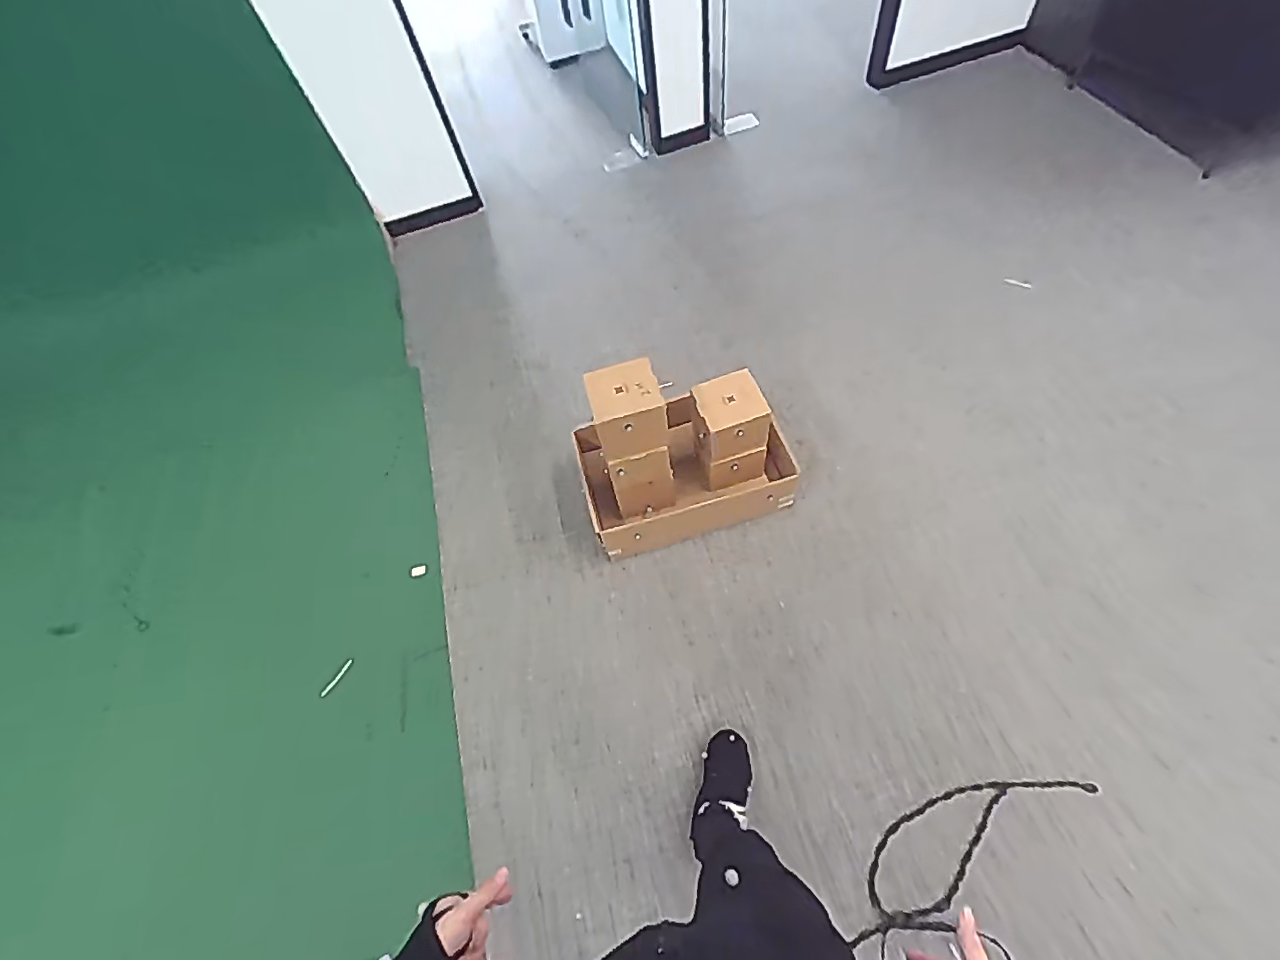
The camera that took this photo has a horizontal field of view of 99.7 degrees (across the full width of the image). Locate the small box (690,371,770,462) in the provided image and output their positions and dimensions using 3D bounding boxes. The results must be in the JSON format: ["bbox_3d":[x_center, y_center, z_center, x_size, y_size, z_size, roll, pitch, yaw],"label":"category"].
[{"bbox_3d":[0.253,-0.174,1.532,0.179,0.176,0.168,-18,61,-3],"label":"small box"}]

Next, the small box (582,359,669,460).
[{"bbox_3d":[-0.034,-0.174,1.379,0.179,0.176,0.168,-16,59,-1],"label":"small box"}]
